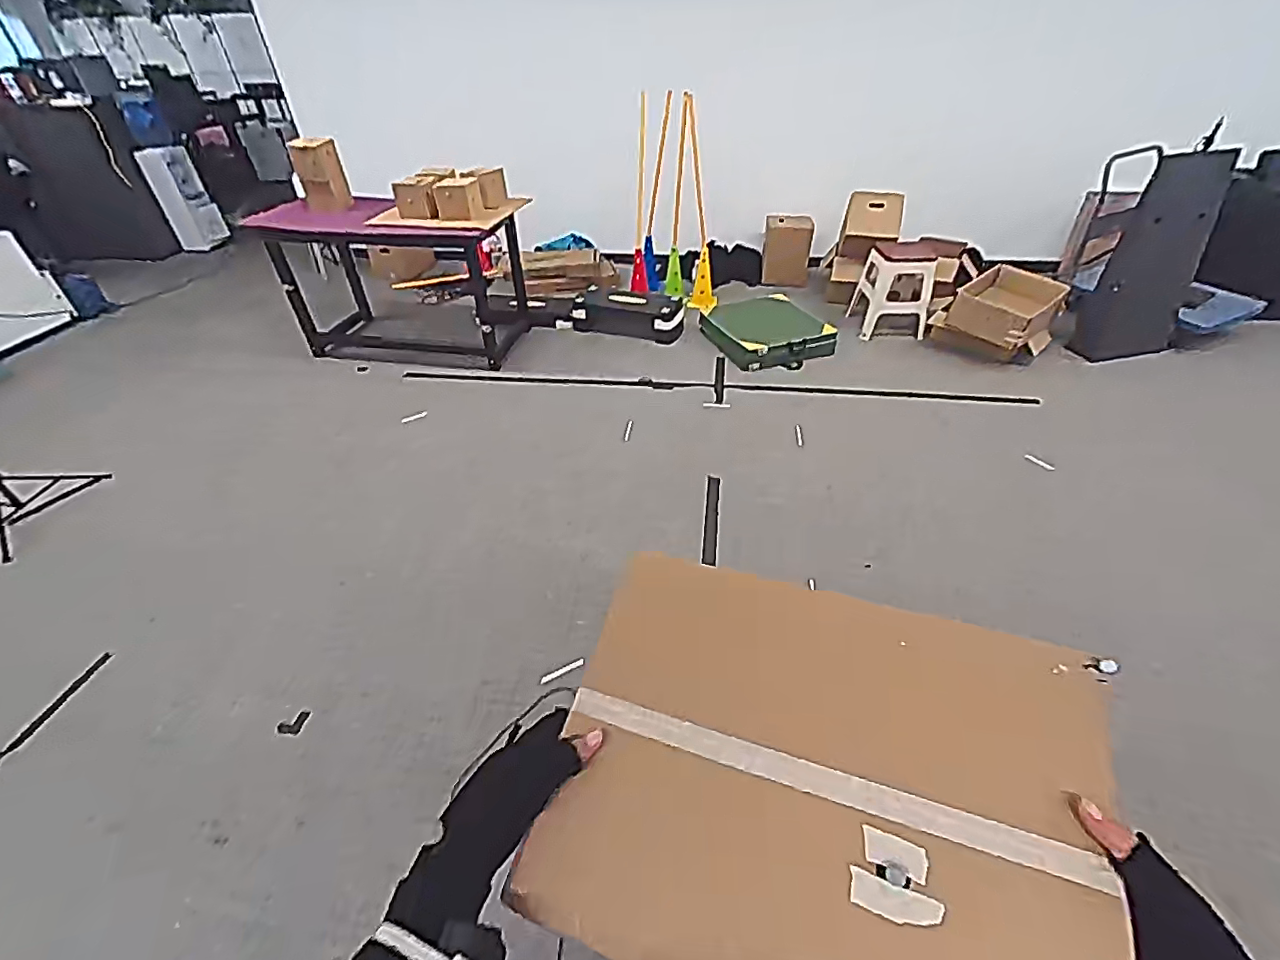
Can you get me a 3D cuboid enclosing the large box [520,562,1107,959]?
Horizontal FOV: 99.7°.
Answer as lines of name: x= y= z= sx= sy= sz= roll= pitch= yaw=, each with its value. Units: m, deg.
large box: x=0.157 y=0.322 z=0.558 sx=0.408 sy=0.320 sz=0.320 roll=10 pitch=59 yaw=18
